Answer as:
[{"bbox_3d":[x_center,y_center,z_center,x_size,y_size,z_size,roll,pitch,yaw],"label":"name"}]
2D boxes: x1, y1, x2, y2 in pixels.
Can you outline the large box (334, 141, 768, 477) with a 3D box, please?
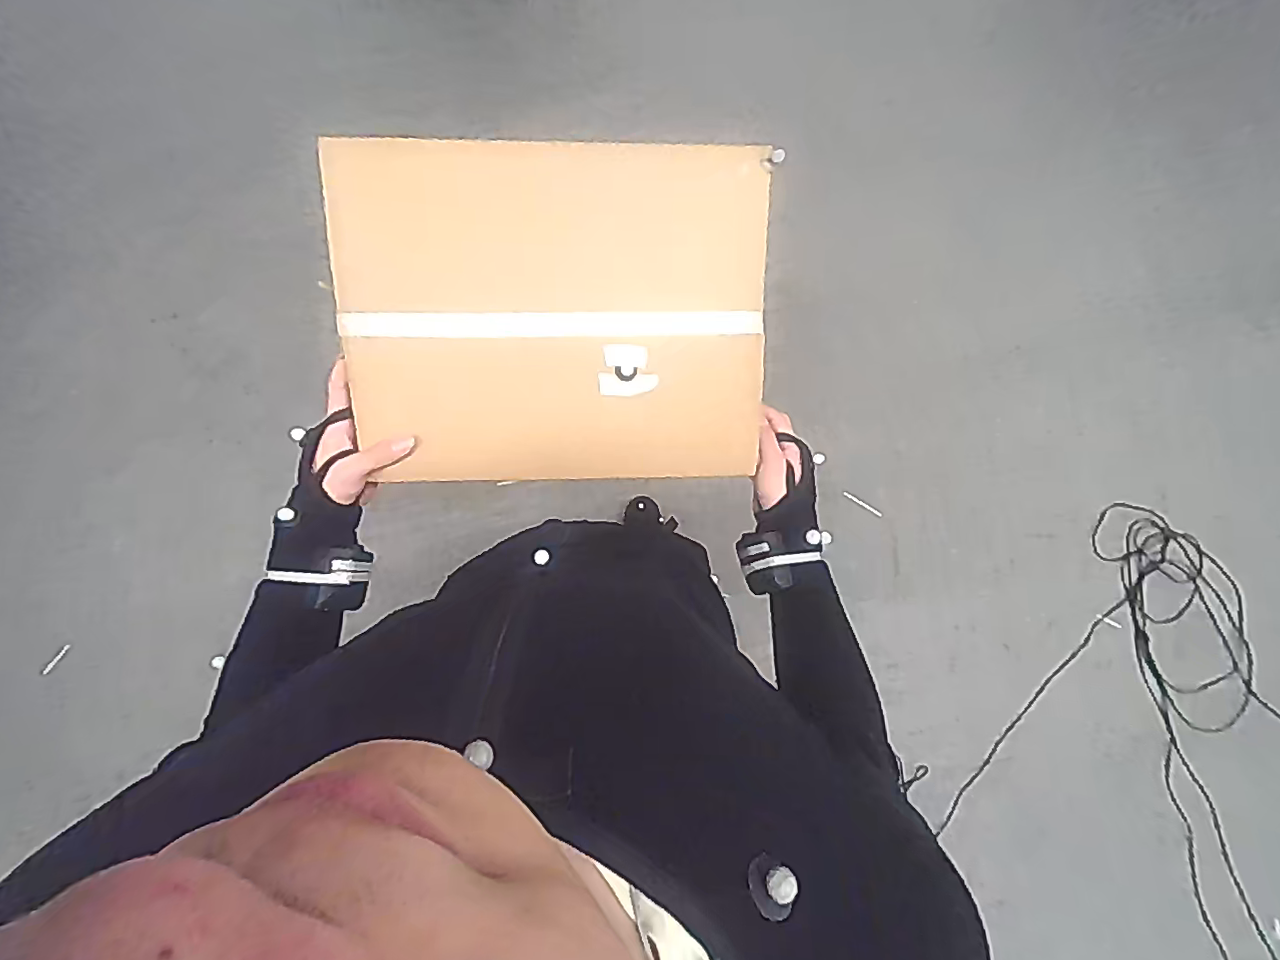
[{"bbox_3d":[-0.087,-0.193,0.674,0.408,0.320,0.320,-1,105,-4],"label":"large box"}]
